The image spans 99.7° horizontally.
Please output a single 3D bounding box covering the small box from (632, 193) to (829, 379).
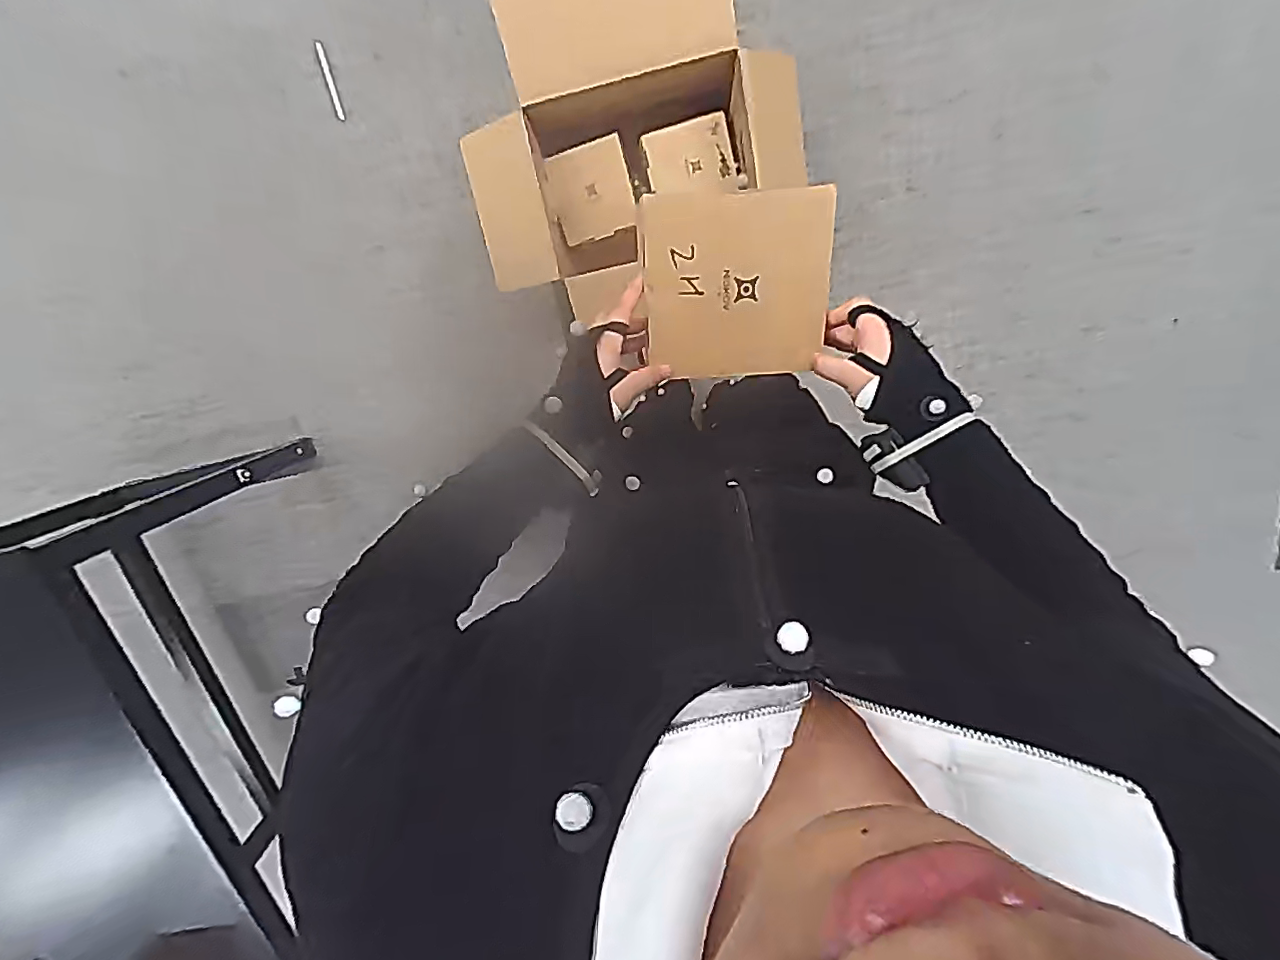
[{"bbox_3d":[0.083,-0.212,0.586,0.179,0.176,0.168,-3,113,0],"label":"small box"}]
